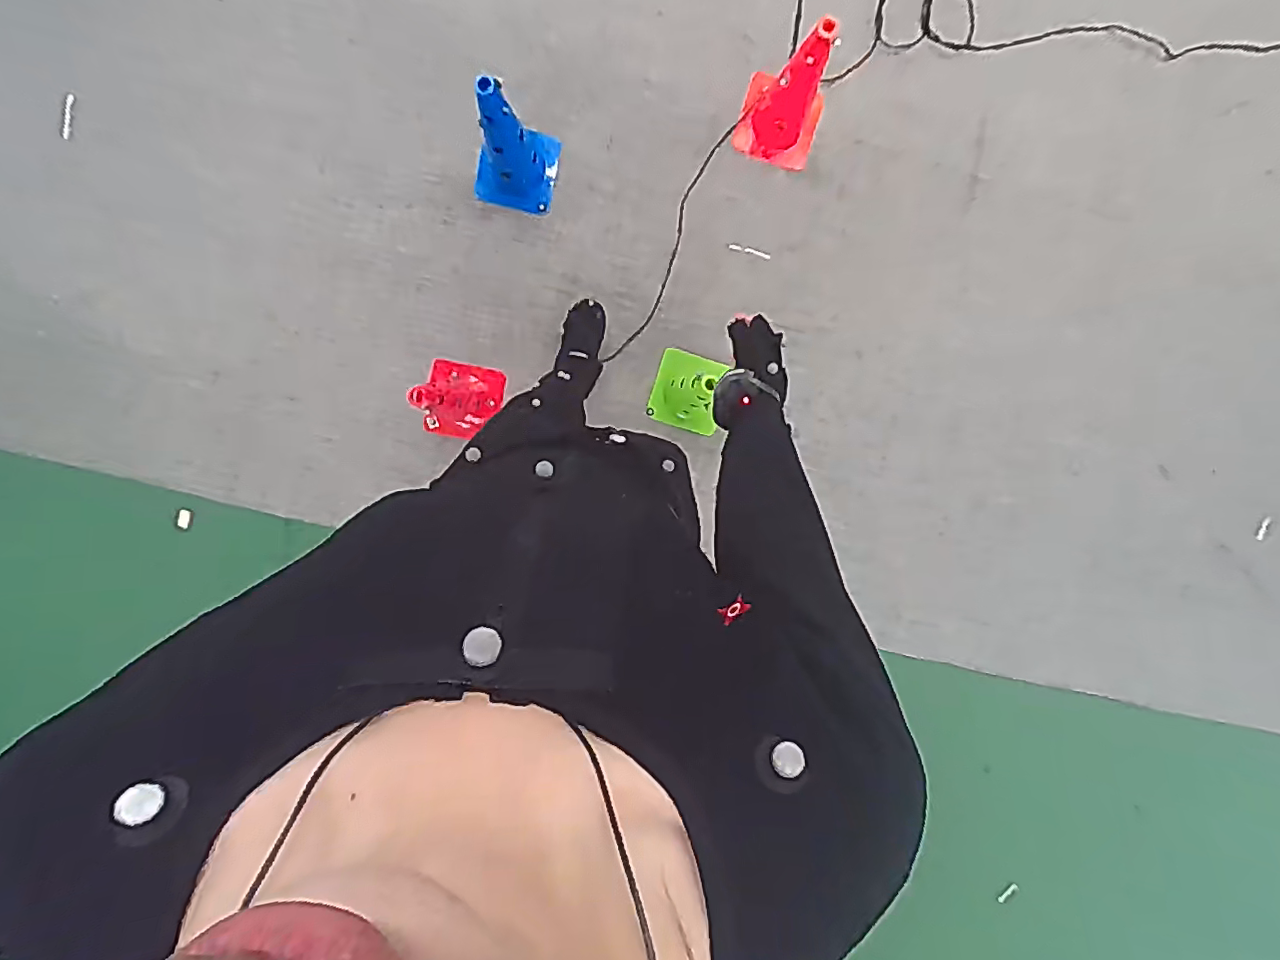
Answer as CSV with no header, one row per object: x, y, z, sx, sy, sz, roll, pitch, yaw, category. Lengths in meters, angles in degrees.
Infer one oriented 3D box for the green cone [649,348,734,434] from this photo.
0.148,-0.223,1.303,0.200,0.368,0.202,16,95,-4,green cone

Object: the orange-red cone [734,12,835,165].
0.363,-0.919,1.233,0.198,0.360,0.199,18,97,-3,orange-red cone
